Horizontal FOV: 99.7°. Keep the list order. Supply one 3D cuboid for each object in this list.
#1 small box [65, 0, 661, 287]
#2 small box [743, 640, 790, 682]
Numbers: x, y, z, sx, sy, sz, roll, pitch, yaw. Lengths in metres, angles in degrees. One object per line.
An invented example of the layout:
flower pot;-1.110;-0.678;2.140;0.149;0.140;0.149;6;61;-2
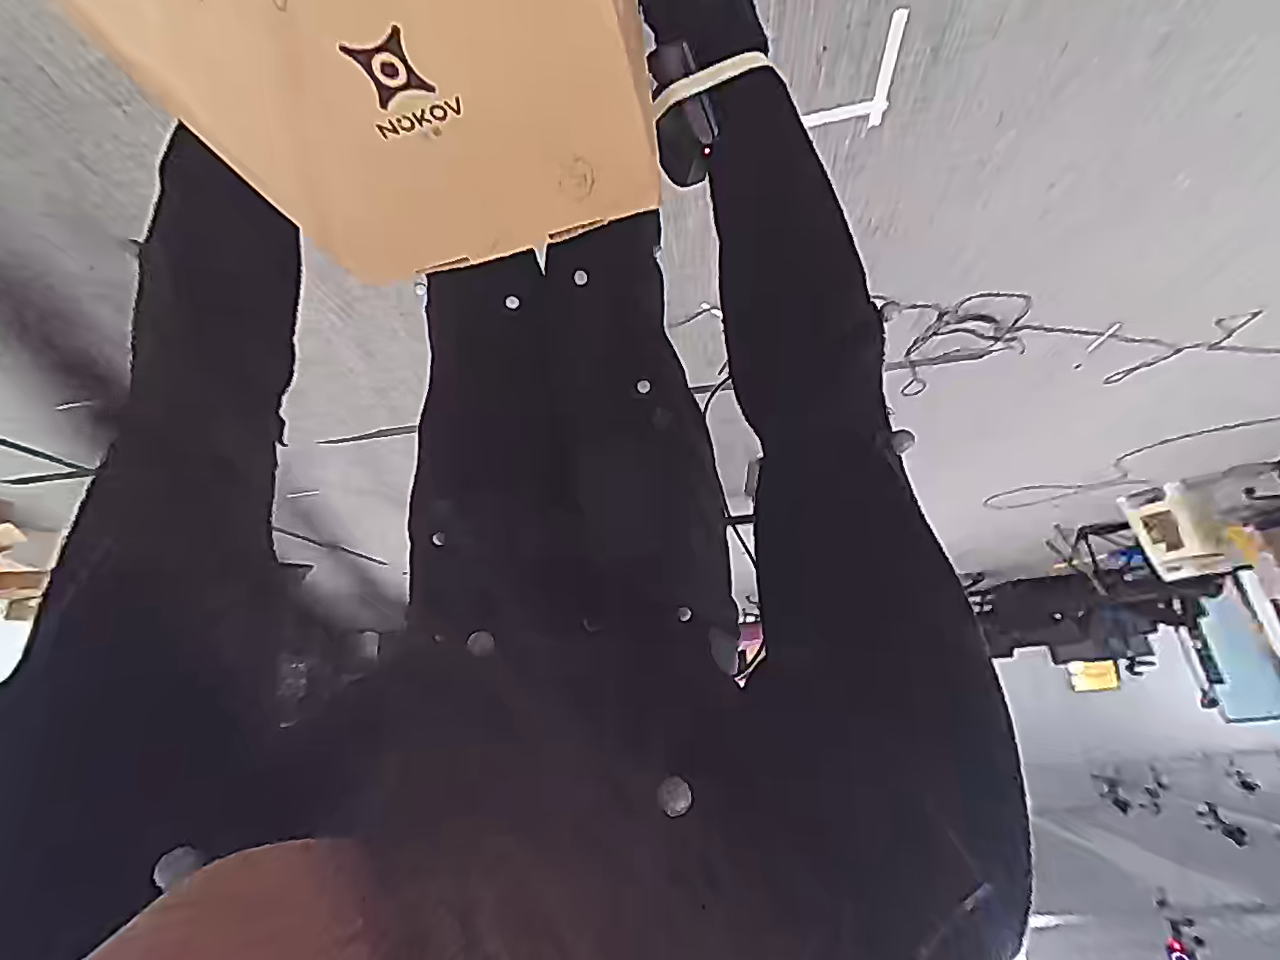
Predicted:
small box;-0.093;-0.220;0.228;0.168;0.176;0.179;-11;158;11
small box;0.572;0.825;2.464;0.168;0.176;0.179;-6;159;1
